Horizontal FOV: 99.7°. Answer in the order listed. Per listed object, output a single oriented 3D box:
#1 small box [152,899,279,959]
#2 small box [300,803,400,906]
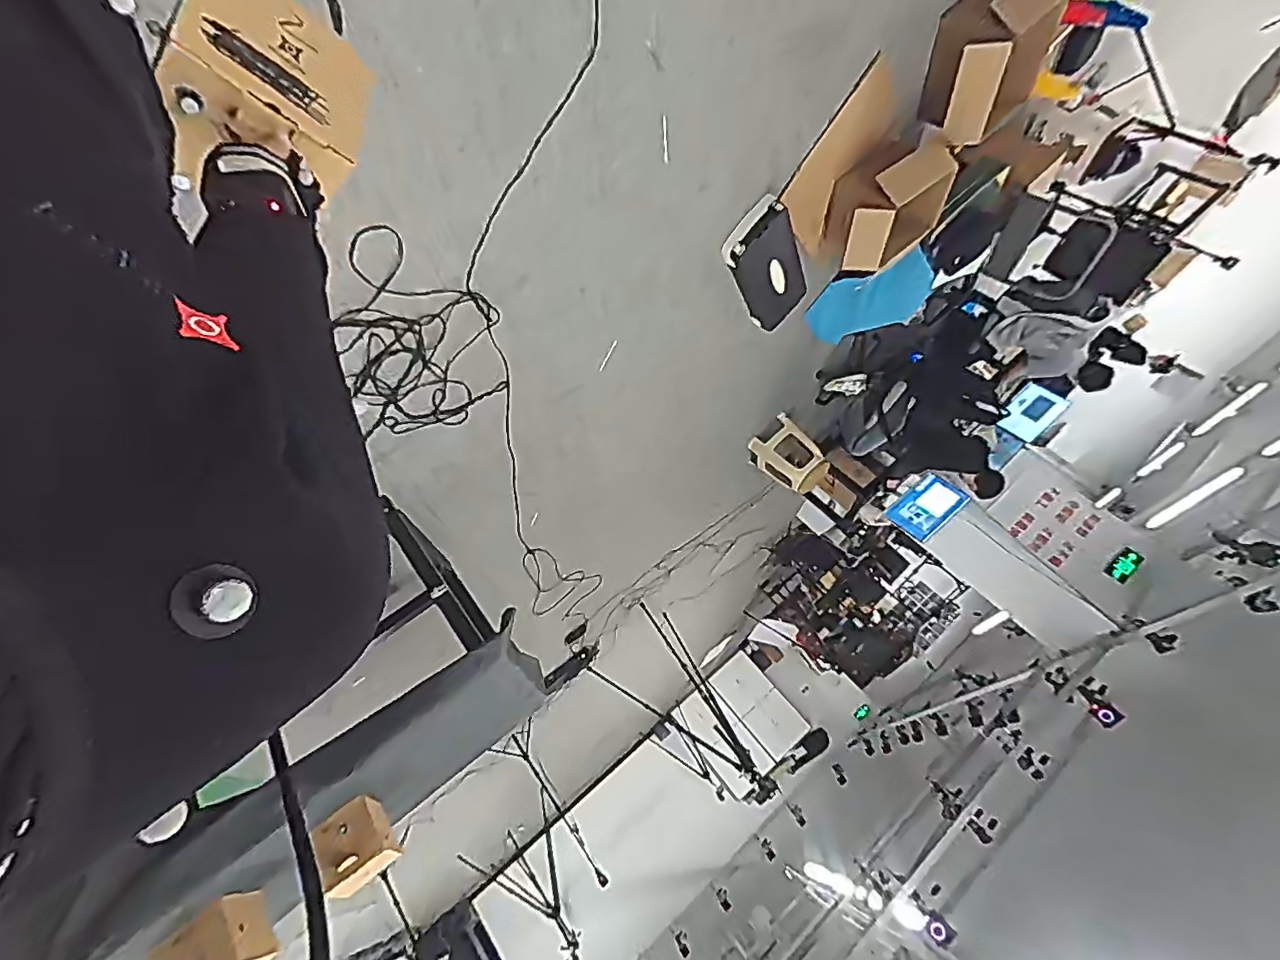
[{"bbox_3d":[-1.054,1.190,1.341,0.168,0.176,0.179,-35,154,-19],"label":"small box"},{"bbox_3d":[-0.793,1.026,1.487,0.168,0.176,0.179,-31,151,-26],"label":"small box"}]
